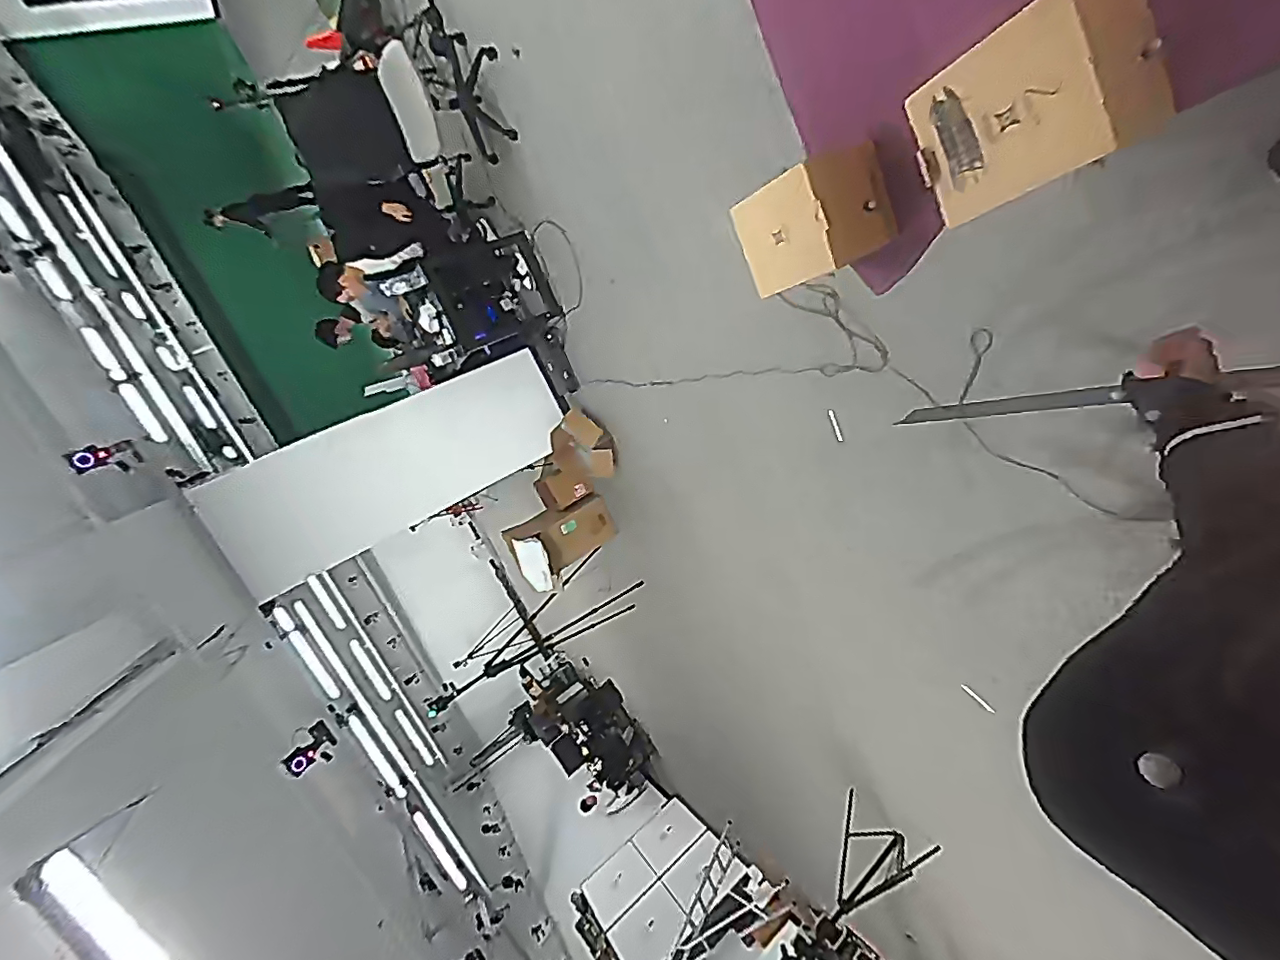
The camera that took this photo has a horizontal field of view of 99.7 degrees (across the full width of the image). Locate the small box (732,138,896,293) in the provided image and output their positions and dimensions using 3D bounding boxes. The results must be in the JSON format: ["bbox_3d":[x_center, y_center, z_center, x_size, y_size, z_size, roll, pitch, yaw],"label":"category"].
[{"bbox_3d":[0.294,-0.443,0.917,0.179,0.176,0.168,2,119,61],"label":"small box"}]
